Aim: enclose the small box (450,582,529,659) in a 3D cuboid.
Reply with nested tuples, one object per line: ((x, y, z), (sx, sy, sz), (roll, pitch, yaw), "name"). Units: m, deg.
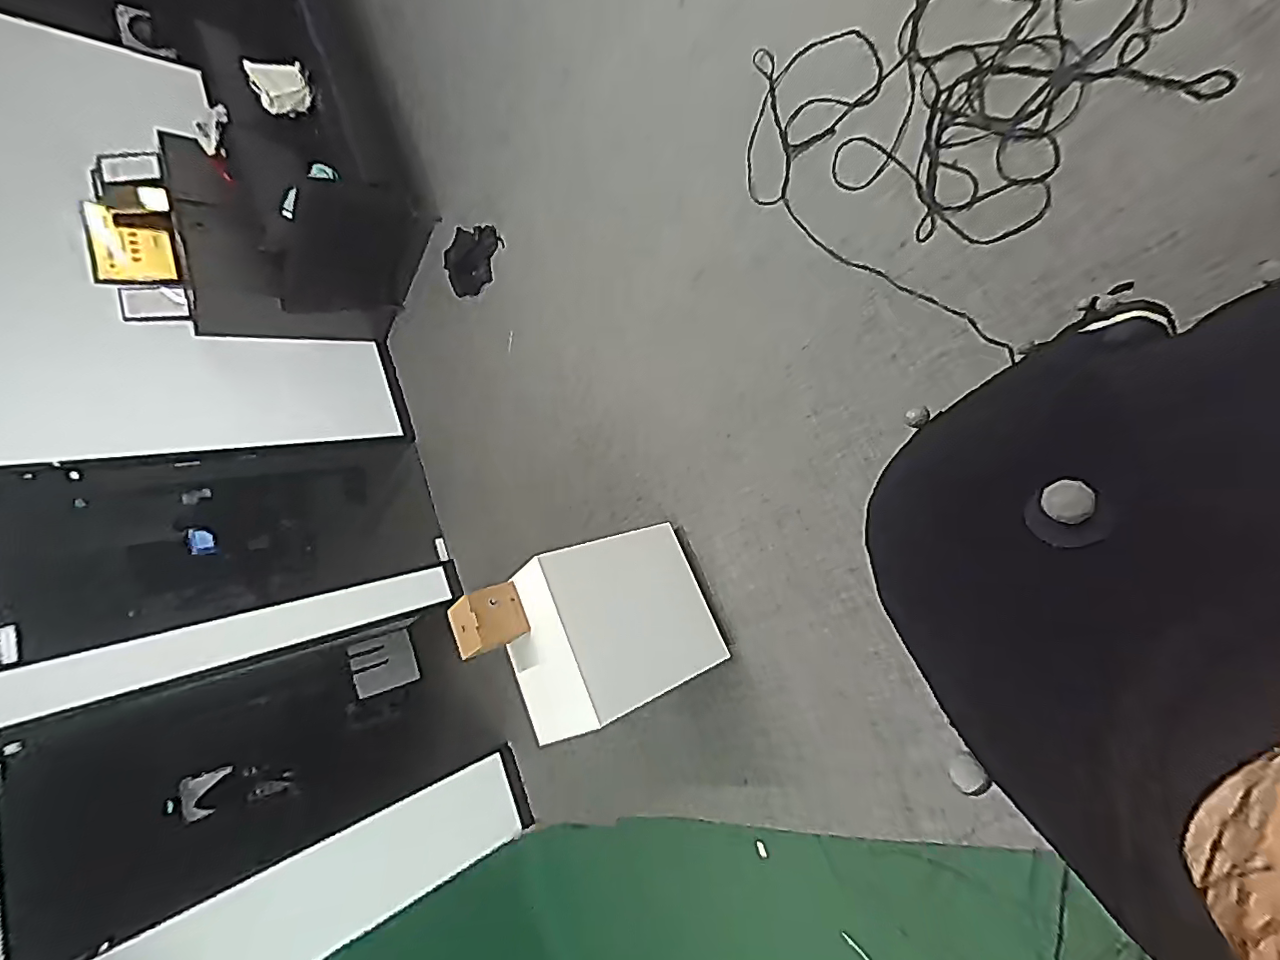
((-0.466, 0.434, 1.686), (0.179, 0.176, 0.168), (-41, 67, 45), "small box")
